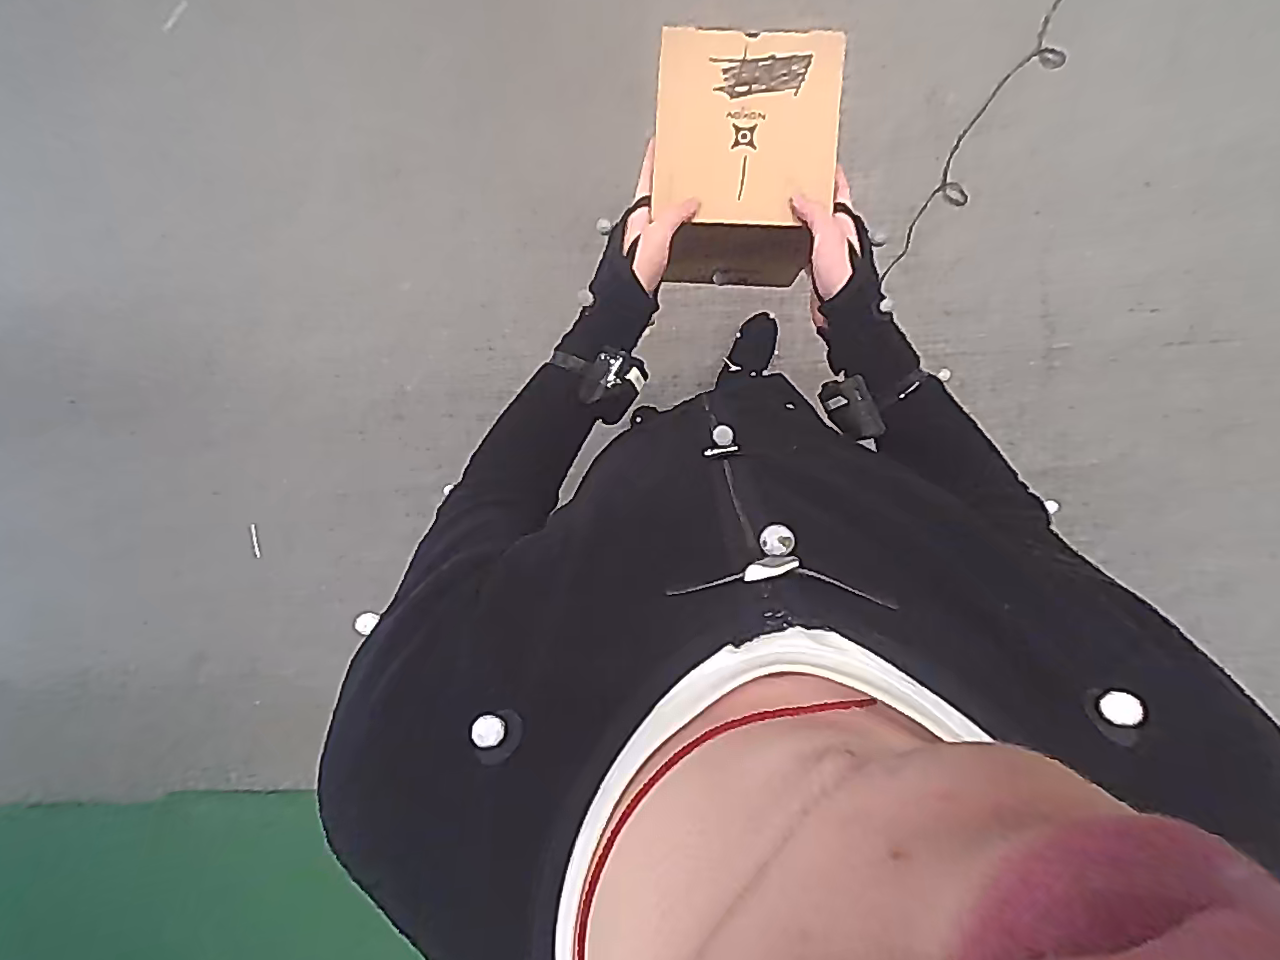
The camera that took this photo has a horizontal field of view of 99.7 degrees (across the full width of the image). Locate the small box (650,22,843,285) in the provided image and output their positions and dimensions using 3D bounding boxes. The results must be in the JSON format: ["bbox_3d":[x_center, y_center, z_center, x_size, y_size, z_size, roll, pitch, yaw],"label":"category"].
[{"bbox_3d":[0.099,-0.324,0.567,0.168,0.176,0.179,4,92,3],"label":"small box"}]
